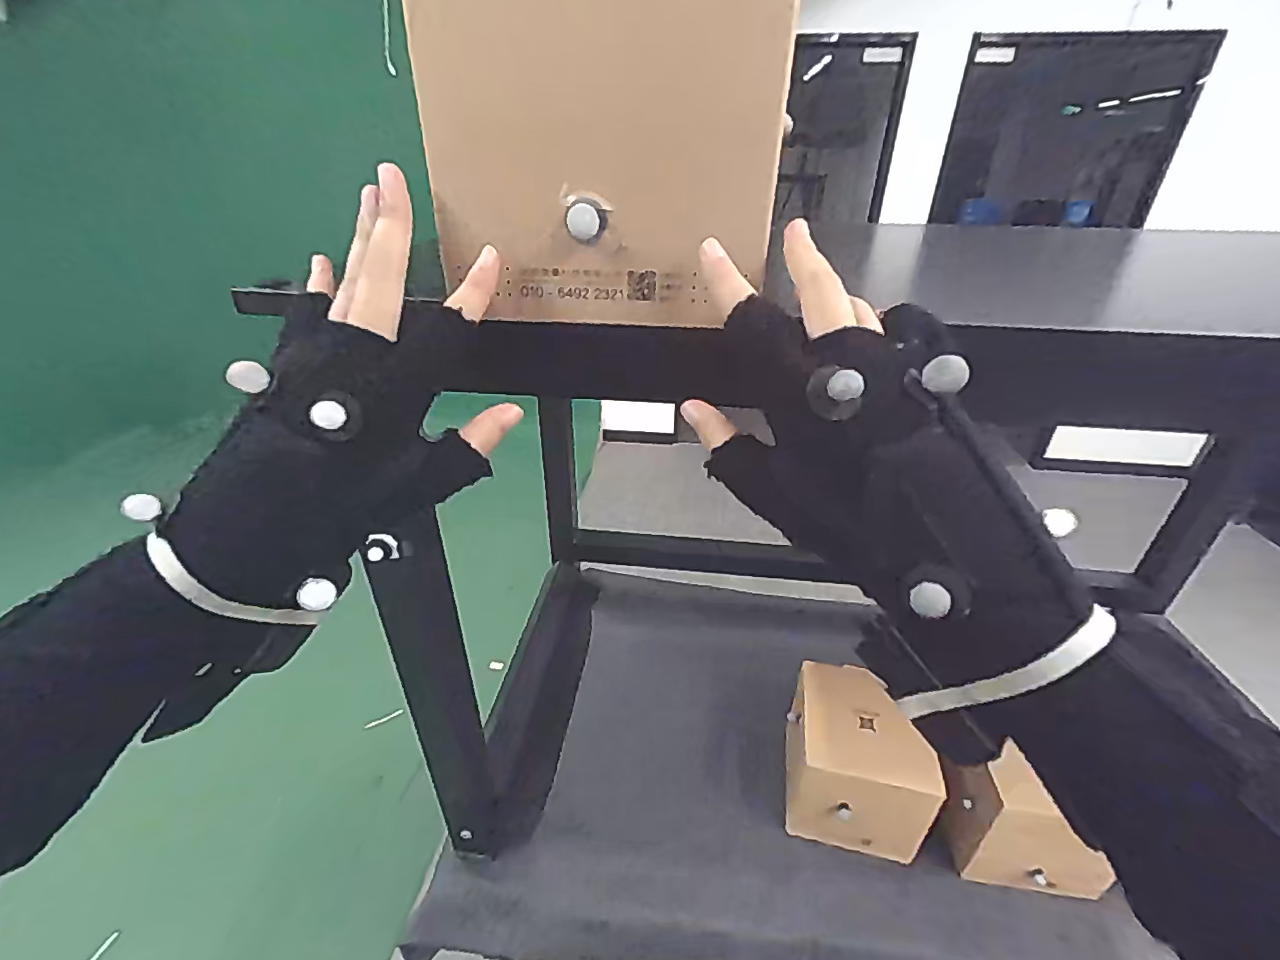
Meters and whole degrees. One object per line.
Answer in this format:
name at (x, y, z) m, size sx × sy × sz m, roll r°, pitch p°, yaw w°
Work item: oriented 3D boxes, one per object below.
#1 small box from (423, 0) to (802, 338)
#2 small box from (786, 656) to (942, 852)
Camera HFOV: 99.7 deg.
small box at (-0.011, -0.194, 0.321) m, size 0.168 × 0.176 × 0.179 m, roll 3°, pitch 32°, yaw 3°
small box at (0.307, 0.390, 0.776) m, size 0.168 × 0.176 × 0.179 m, roll 7°, pitch 31°, yaw 12°
